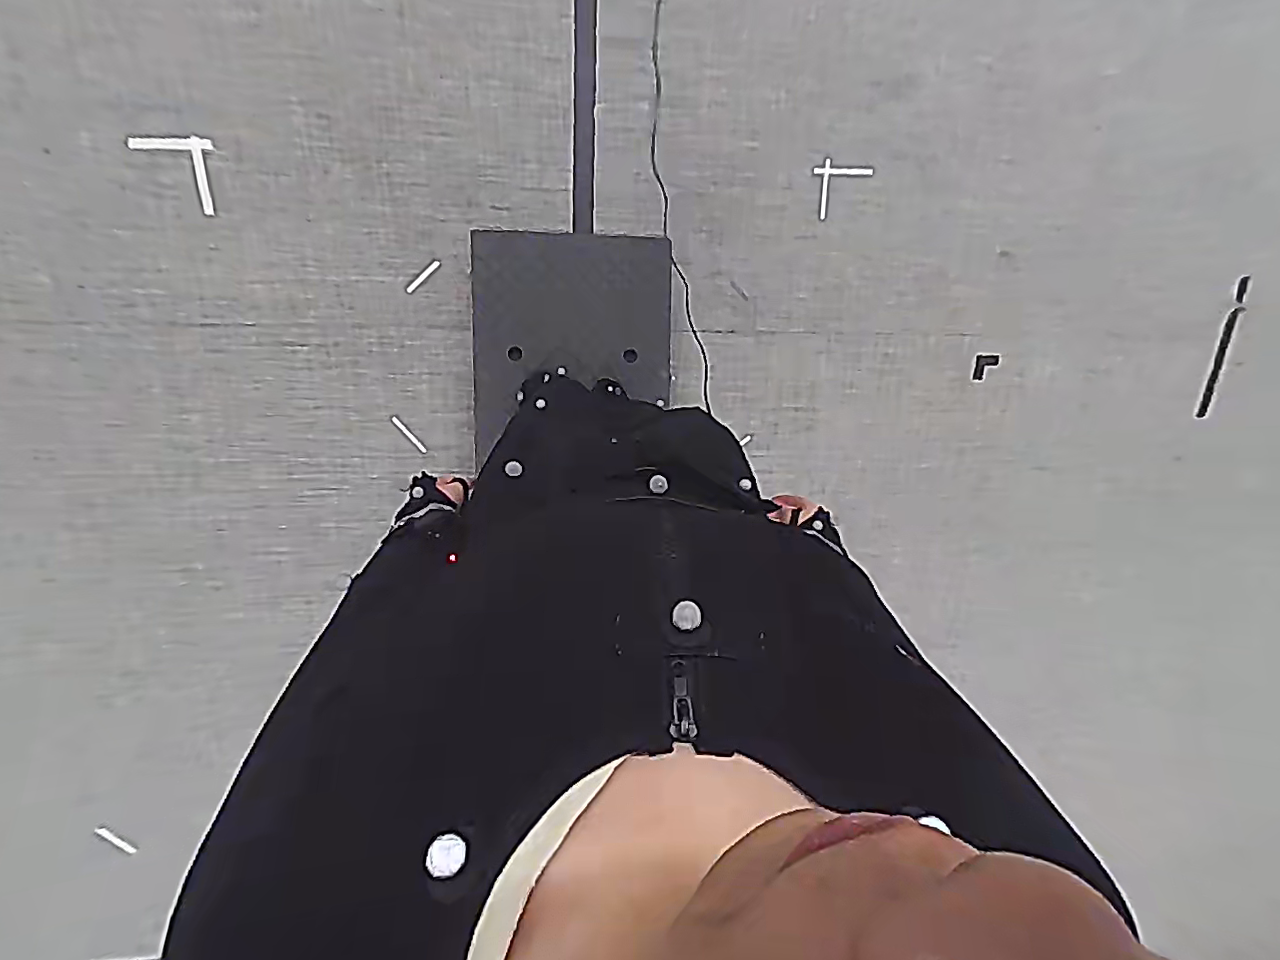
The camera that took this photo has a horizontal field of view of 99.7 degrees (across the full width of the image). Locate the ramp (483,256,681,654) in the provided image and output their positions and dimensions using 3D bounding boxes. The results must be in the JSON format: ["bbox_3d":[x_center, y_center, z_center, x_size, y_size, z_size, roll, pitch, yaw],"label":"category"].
[{"bbox_3d":[-0.142,-0.058,1.372,0.509,0.206,0.991,-2,103,-4],"label":"ramp"}]
